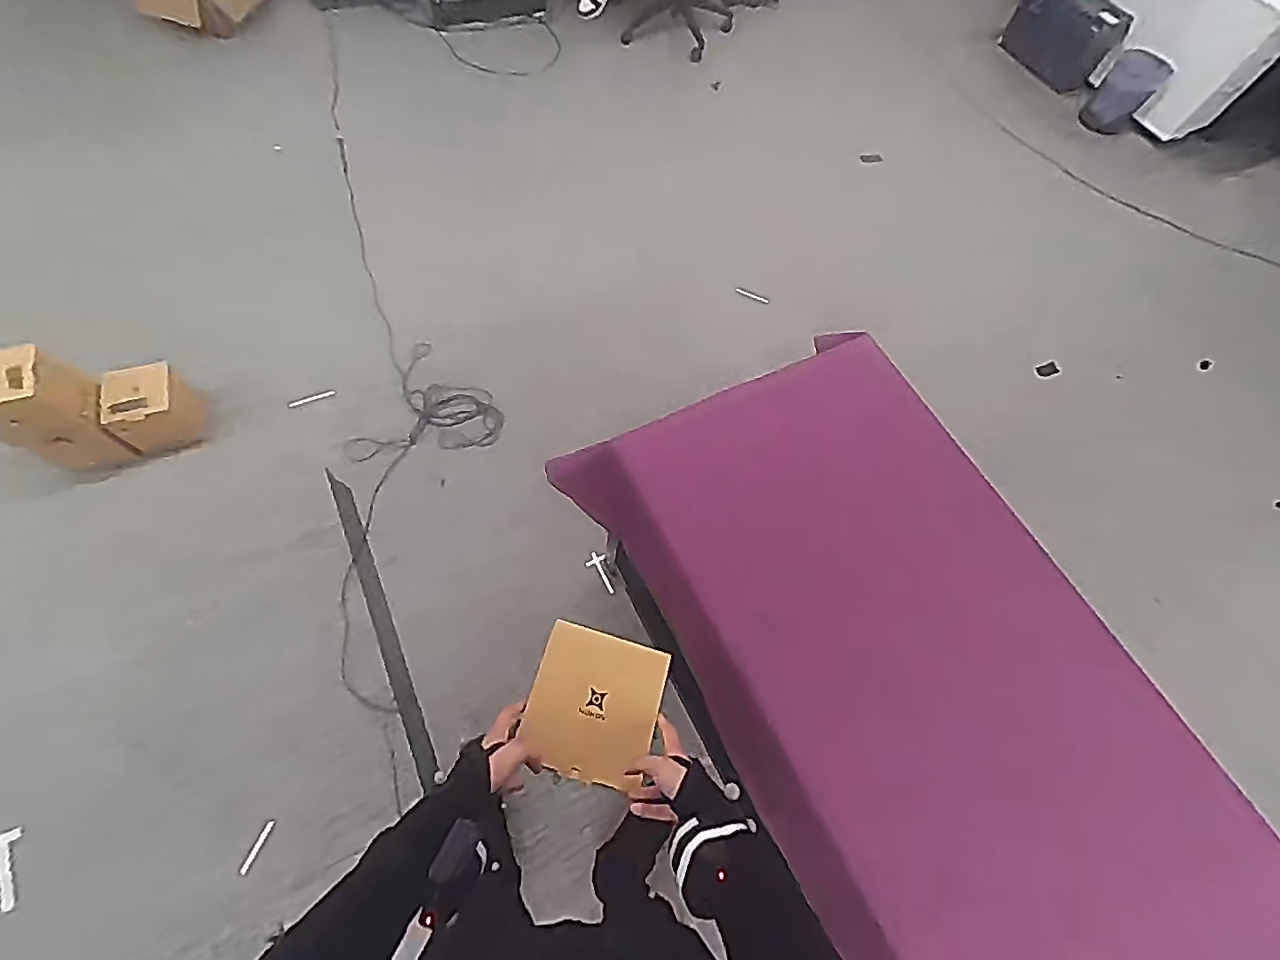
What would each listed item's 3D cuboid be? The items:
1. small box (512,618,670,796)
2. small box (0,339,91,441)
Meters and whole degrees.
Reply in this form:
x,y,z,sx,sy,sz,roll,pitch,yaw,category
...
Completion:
x,y,z,sx,sy,sz,roll,pitch,yaw,category
-0.072,0.317,0.755,0.168,0.176,0.179,19,61,-3,small box
-1.554,-0.224,1.370,0.179,0.176,0.168,-18,68,-13,small box
